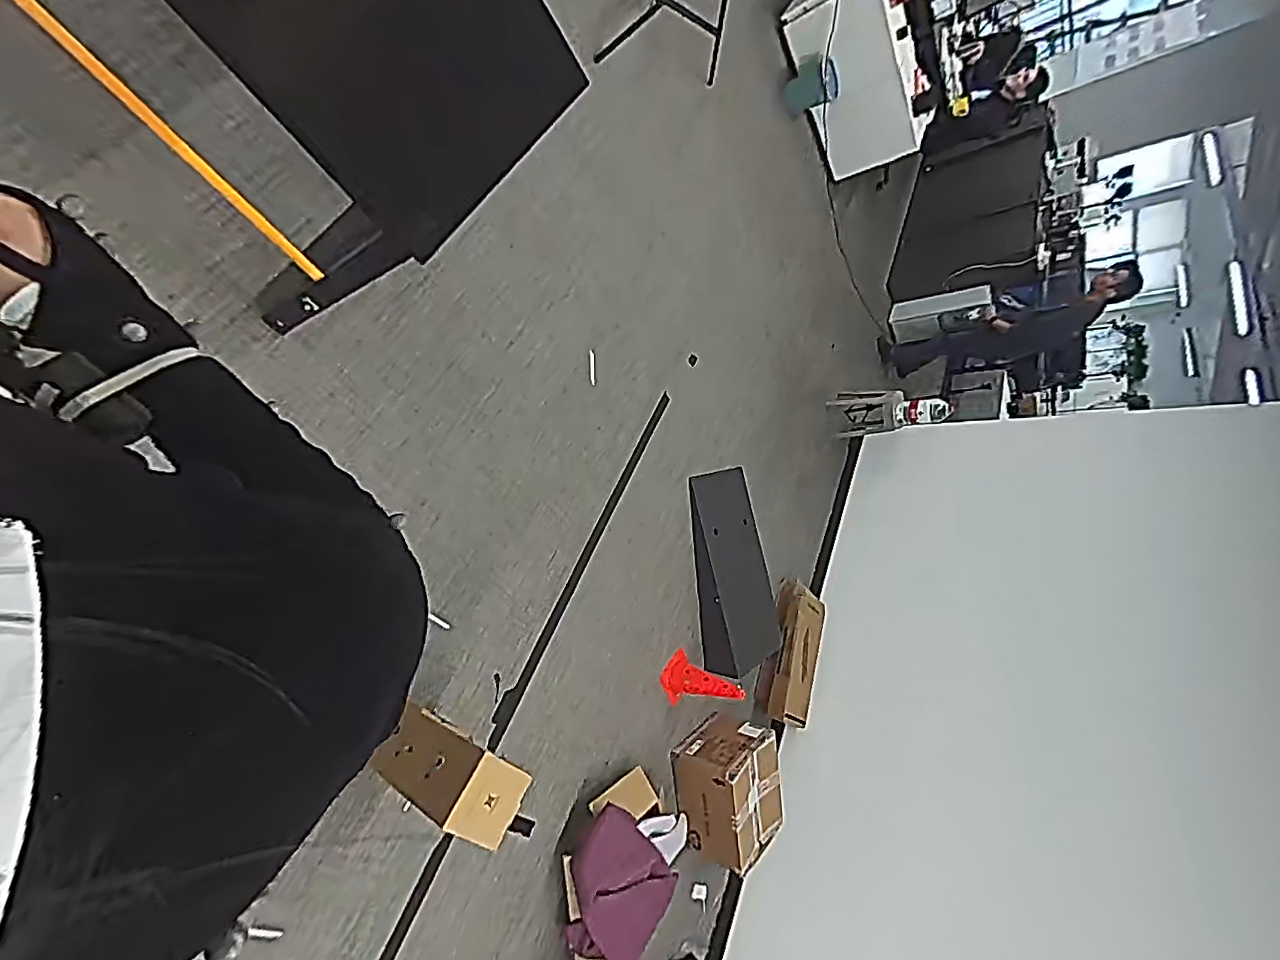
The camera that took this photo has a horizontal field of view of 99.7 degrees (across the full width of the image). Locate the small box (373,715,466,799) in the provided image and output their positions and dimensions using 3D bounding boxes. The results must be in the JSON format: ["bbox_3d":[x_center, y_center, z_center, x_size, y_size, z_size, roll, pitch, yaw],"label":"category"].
[{"bbox_3d":[-0.531,0.724,1.373,0.179,0.176,0.168,53,53,-35],"label":"small box"}]

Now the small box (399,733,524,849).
[{"bbox_3d":[-0.414,0.716,1.259,0.179,0.176,0.168,52,53,-34],"label":"small box"}]

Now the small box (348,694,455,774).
[{"bbox_3d":[-0.656,0.715,1.481,0.168,0.176,0.179,53,53,-35],"label":"small box"}]
